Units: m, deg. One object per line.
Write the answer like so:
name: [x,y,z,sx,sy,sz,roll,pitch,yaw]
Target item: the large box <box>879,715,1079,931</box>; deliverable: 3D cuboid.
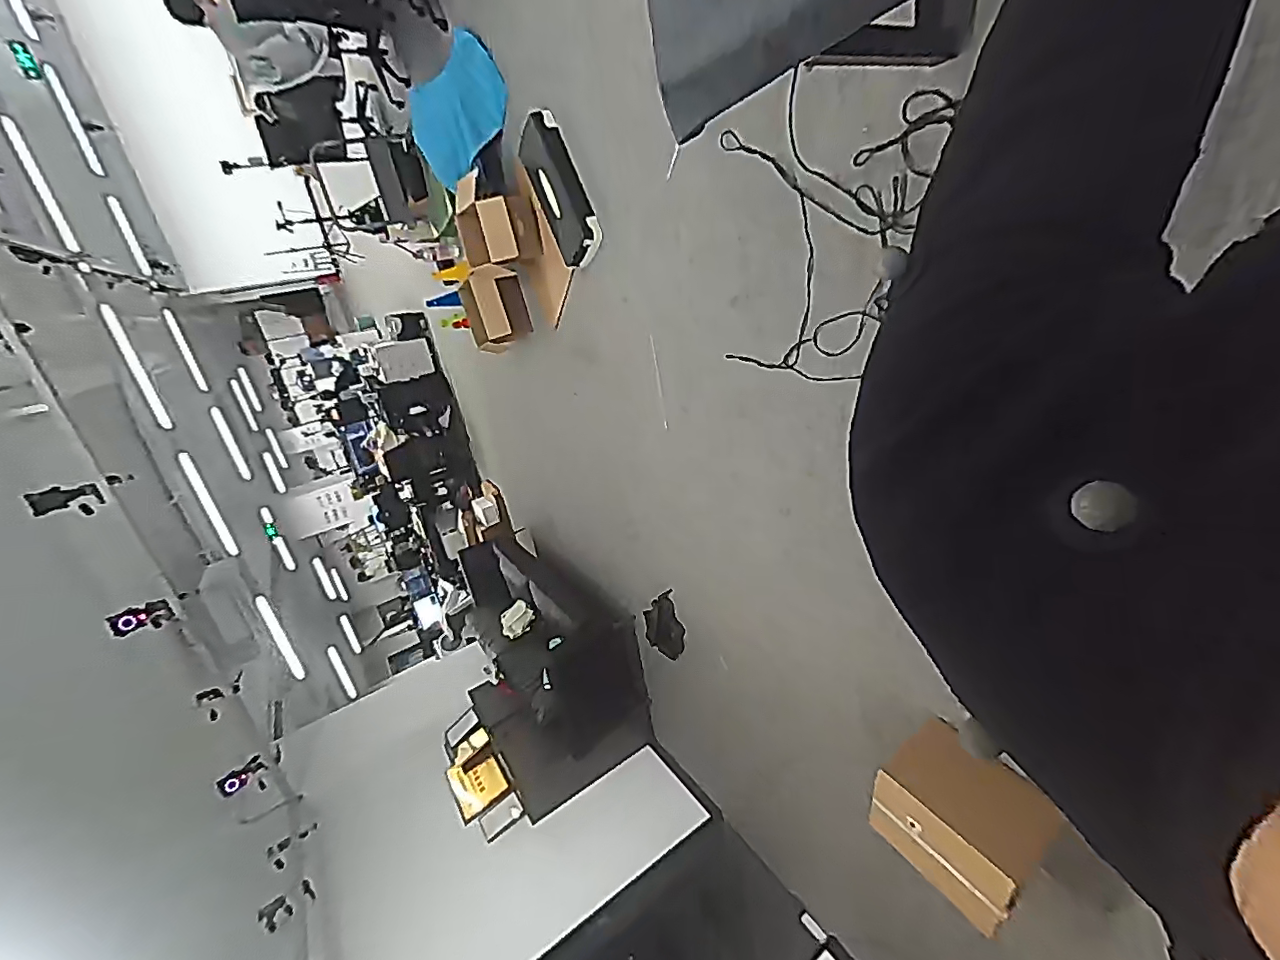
large box: [1.022,1.030,1.668,0.408,0.320,0.320,34,138,50]
